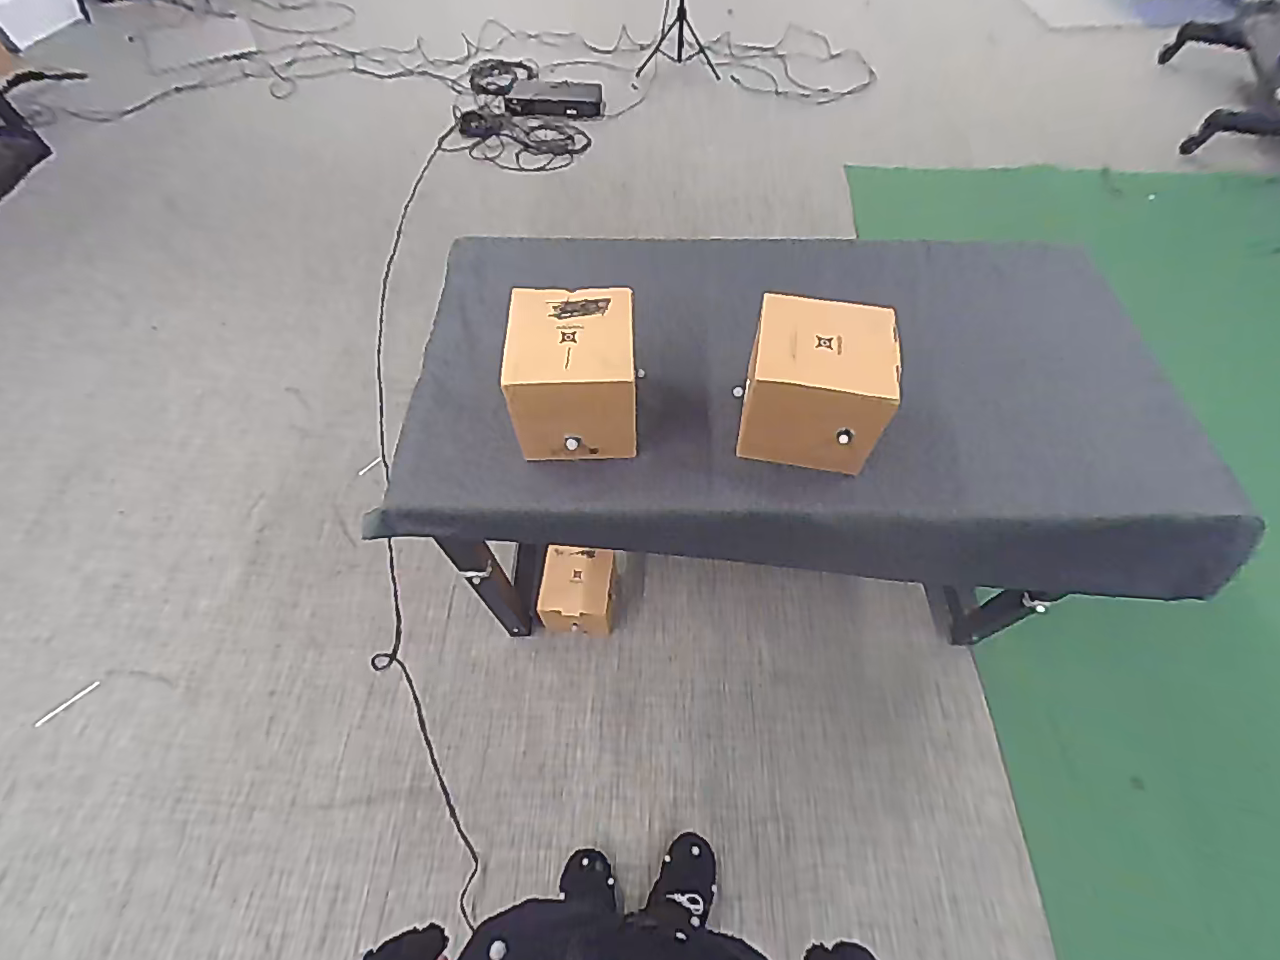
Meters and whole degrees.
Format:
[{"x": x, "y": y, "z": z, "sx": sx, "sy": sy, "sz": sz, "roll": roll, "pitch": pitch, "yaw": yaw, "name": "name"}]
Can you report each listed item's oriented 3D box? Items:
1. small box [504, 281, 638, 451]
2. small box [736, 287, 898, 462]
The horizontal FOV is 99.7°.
[{"x": -0.088, "y": -0.159, "z": 0.772, "sx": 0.168, "sy": 0.176, "sz": 0.179, "roll": -2, "pitch": 59, "yaw": -1, "name": "small box"}, {"x": 0.241, "y": -0.142, "z": 0.765, "sx": 0.179, "sy": 0.176, "sz": 0.168, "roll": 9, "pitch": 58, "yaw": 6, "name": "small box"}]
